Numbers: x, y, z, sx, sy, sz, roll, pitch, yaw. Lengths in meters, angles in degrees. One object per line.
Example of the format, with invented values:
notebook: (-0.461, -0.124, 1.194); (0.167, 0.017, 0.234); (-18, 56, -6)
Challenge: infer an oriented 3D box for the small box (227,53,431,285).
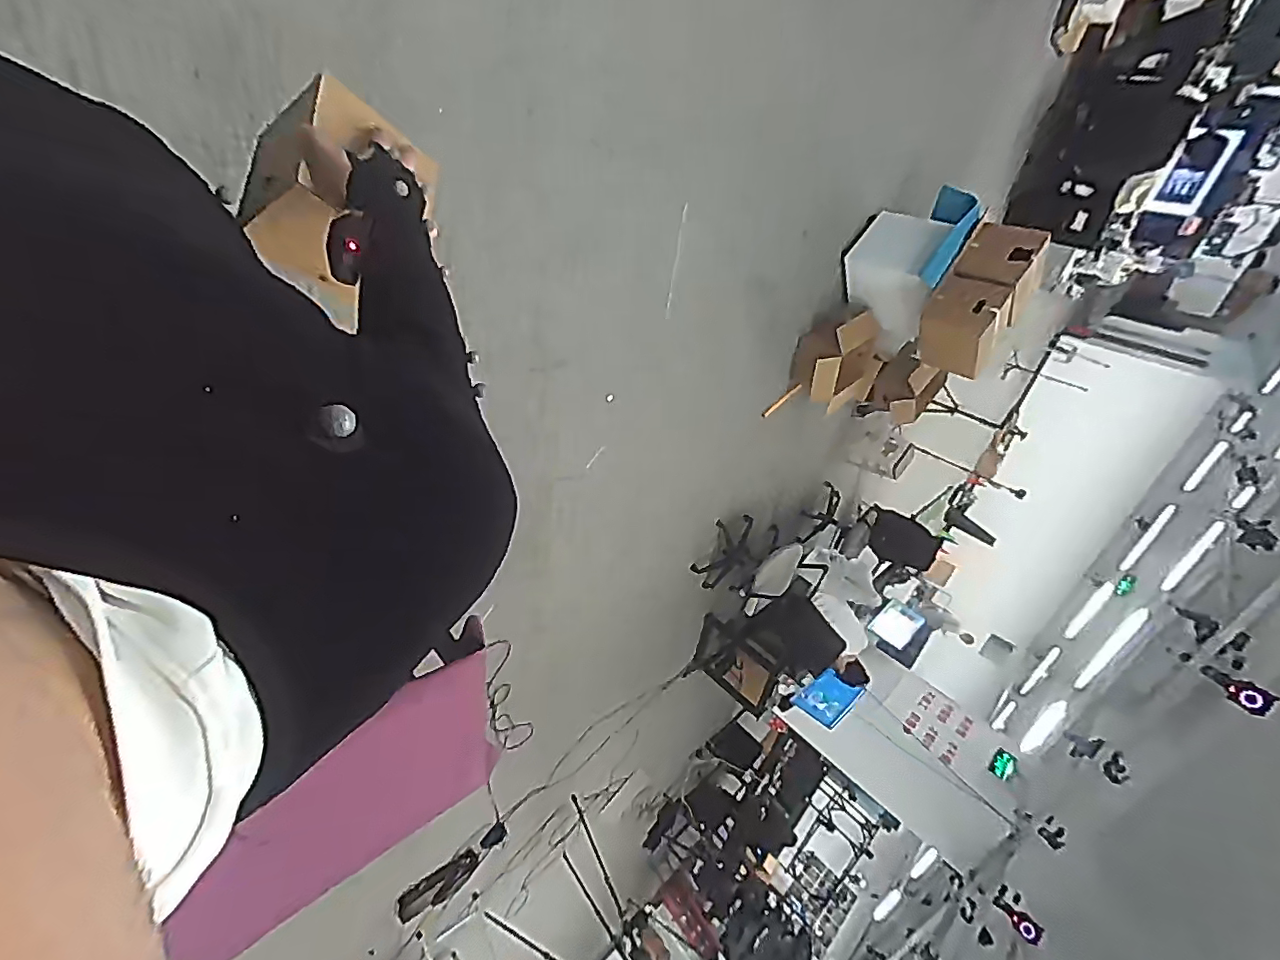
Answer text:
small box: (-0.410, -0.393, 0.719); (0.168, 0.176, 0.179); (25, 60, -54)
